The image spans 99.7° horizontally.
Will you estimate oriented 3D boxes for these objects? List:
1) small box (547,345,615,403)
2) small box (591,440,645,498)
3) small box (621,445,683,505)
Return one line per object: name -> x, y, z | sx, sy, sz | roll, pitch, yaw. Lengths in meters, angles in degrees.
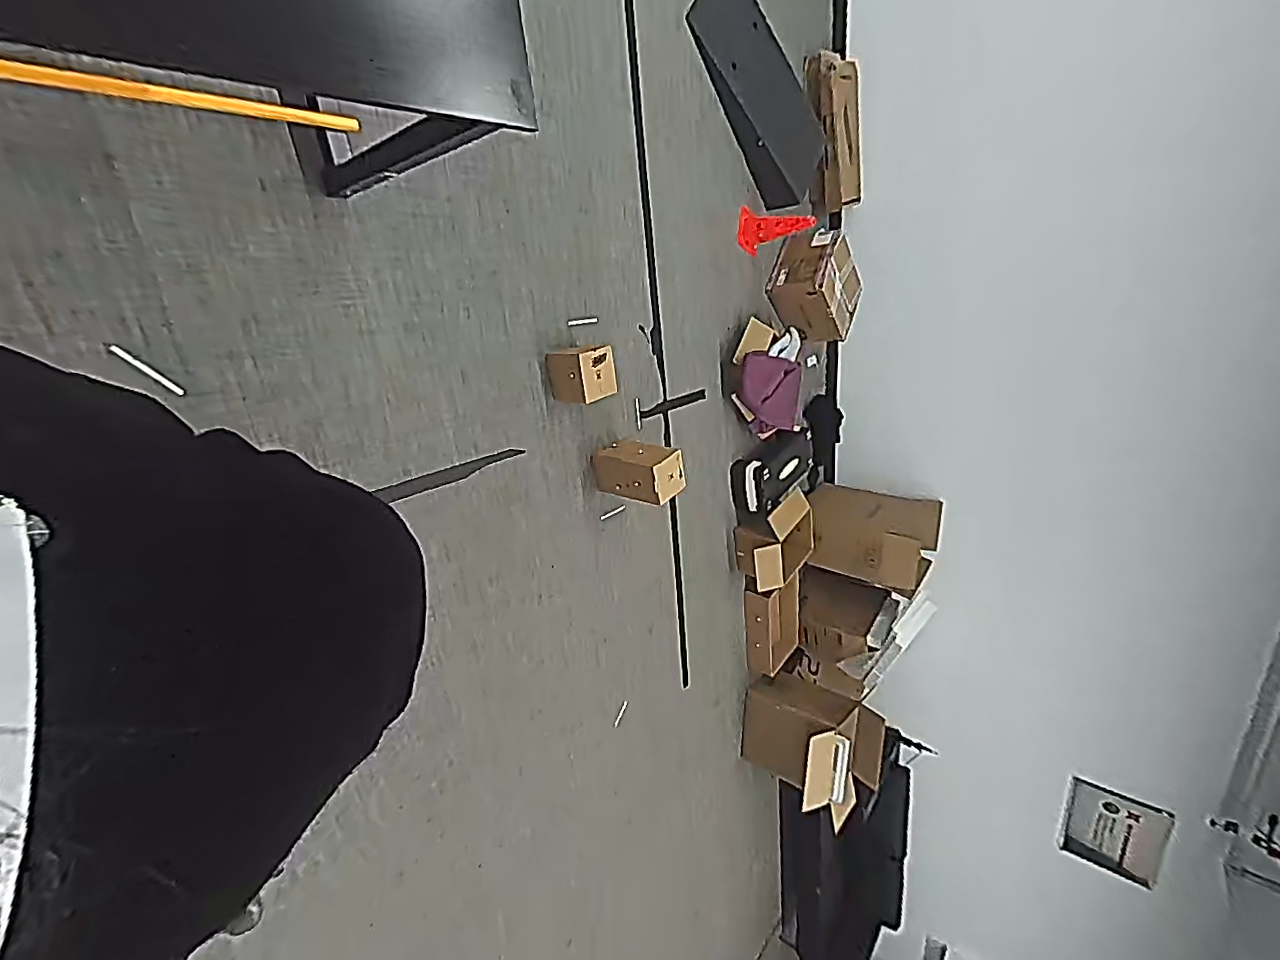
small box -> -0.217, -0.385, 1.952 | 0.168, 0.176, 0.179 | -30, 121, -43
small box -> -0.078, -0.049, 2.203 | 0.168, 0.176, 0.179 | -33, 123, -42
small box -> 0.042, -0.025, 2.094 | 0.179, 0.176, 0.168 | -34, 124, -41
